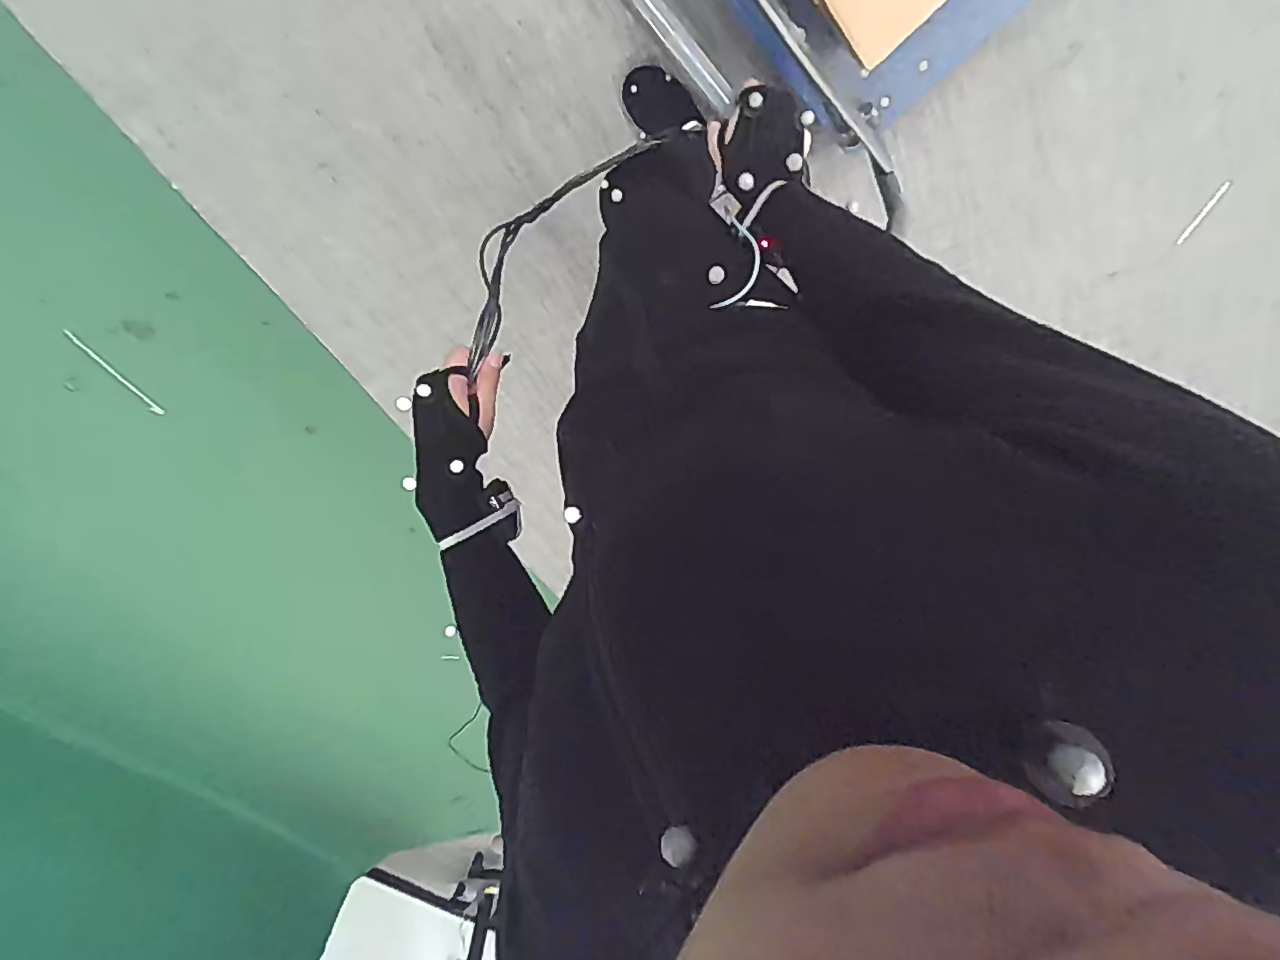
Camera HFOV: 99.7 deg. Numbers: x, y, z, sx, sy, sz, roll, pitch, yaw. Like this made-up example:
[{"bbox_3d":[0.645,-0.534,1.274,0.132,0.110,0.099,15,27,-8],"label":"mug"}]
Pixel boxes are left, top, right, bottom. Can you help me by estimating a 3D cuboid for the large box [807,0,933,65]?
[{"bbox_3d":[0.380,-0.897,0.747,0.320,0.320,0.408,39,128,-25],"label":"large box"}]
